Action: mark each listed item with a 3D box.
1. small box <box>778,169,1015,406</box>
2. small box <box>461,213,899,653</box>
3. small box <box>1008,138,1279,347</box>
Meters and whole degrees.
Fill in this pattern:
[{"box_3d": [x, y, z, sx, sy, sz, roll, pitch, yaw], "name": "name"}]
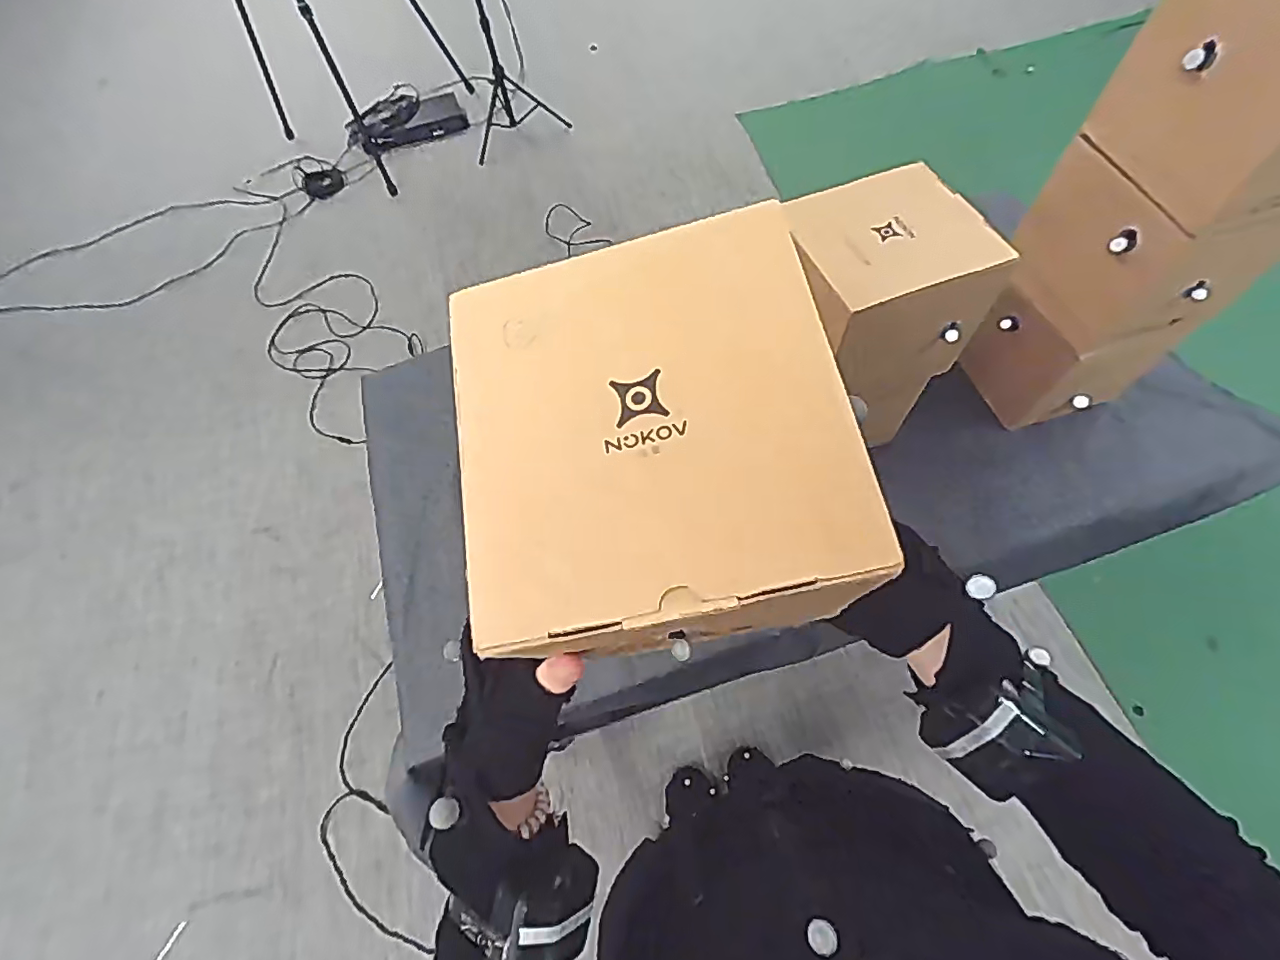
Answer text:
[{"box_3d": [0.254, -0.203, 0.607, 0.179, 0.176, 0.168, -19, 61, -4], "name": "small box"}, {"box_3d": [0.016, -0.005, 0.309, 0.168, 0.176, 0.179, -13, 70, 6], "name": "small box"}, {"box_3d": [0.567, -0.272, 0.612, 0.168, 0.176, 0.179, -15, 62, -2], "name": "small box"}]
